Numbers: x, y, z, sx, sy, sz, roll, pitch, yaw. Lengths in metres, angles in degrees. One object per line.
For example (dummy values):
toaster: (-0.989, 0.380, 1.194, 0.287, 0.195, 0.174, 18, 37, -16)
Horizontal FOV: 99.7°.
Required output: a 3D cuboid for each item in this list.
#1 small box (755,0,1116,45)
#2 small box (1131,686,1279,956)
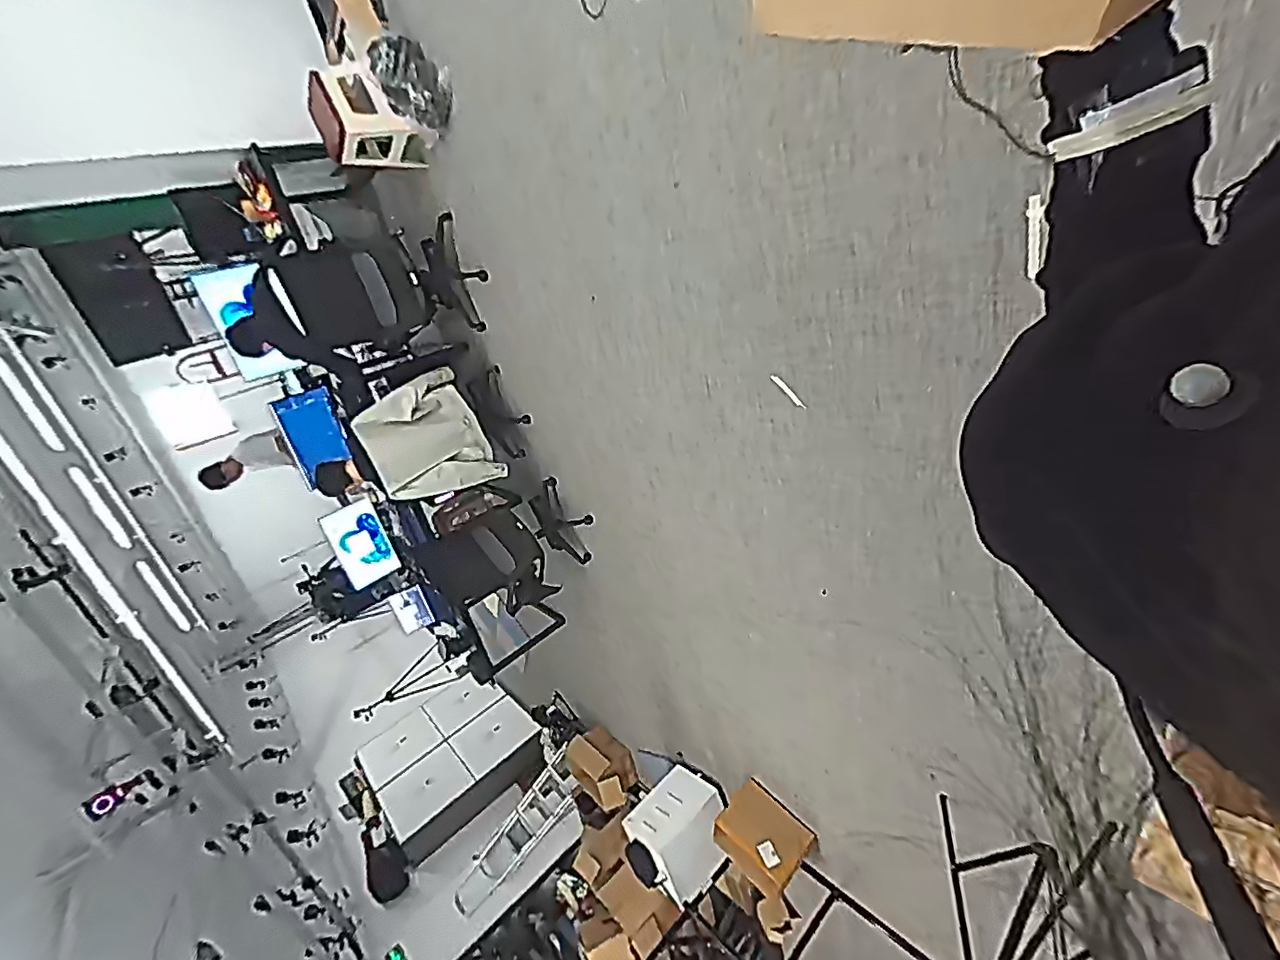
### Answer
small box: (0.173, -0.319, 0.235, 0.179, 0.176, 0.168, 34, 153, 32)
small box: (0.656, 0.356, 0.566, 0.168, 0.176, 0.179, 18, 131, 47)
